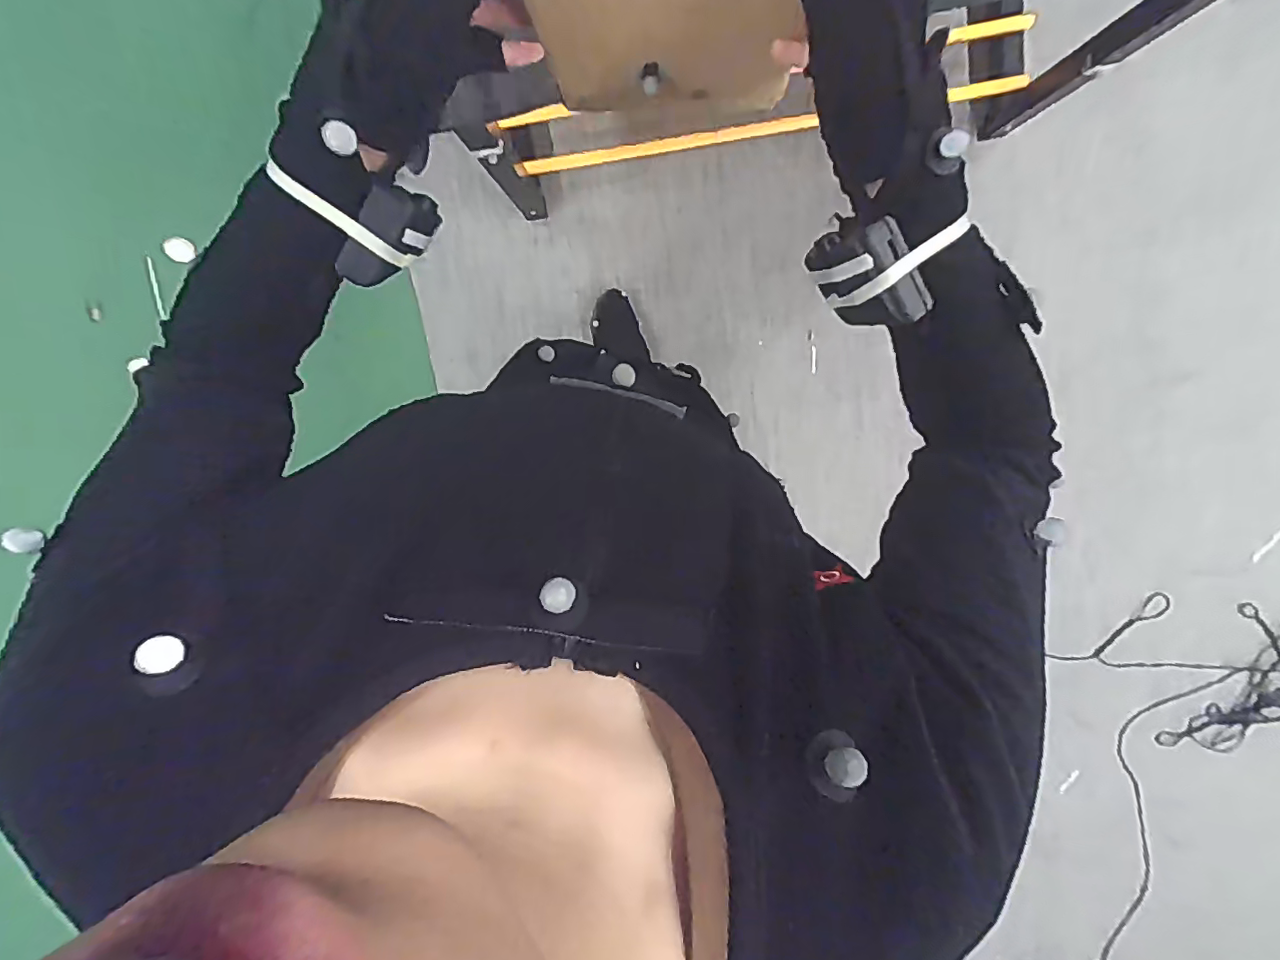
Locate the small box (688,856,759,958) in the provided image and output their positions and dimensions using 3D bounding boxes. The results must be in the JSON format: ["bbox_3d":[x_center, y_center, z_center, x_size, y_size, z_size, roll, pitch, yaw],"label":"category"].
[{"bbox_3d":[0.248,1.286,1.644,0.168,0.176,0.179,-16,101,4],"label":"small box"}]
